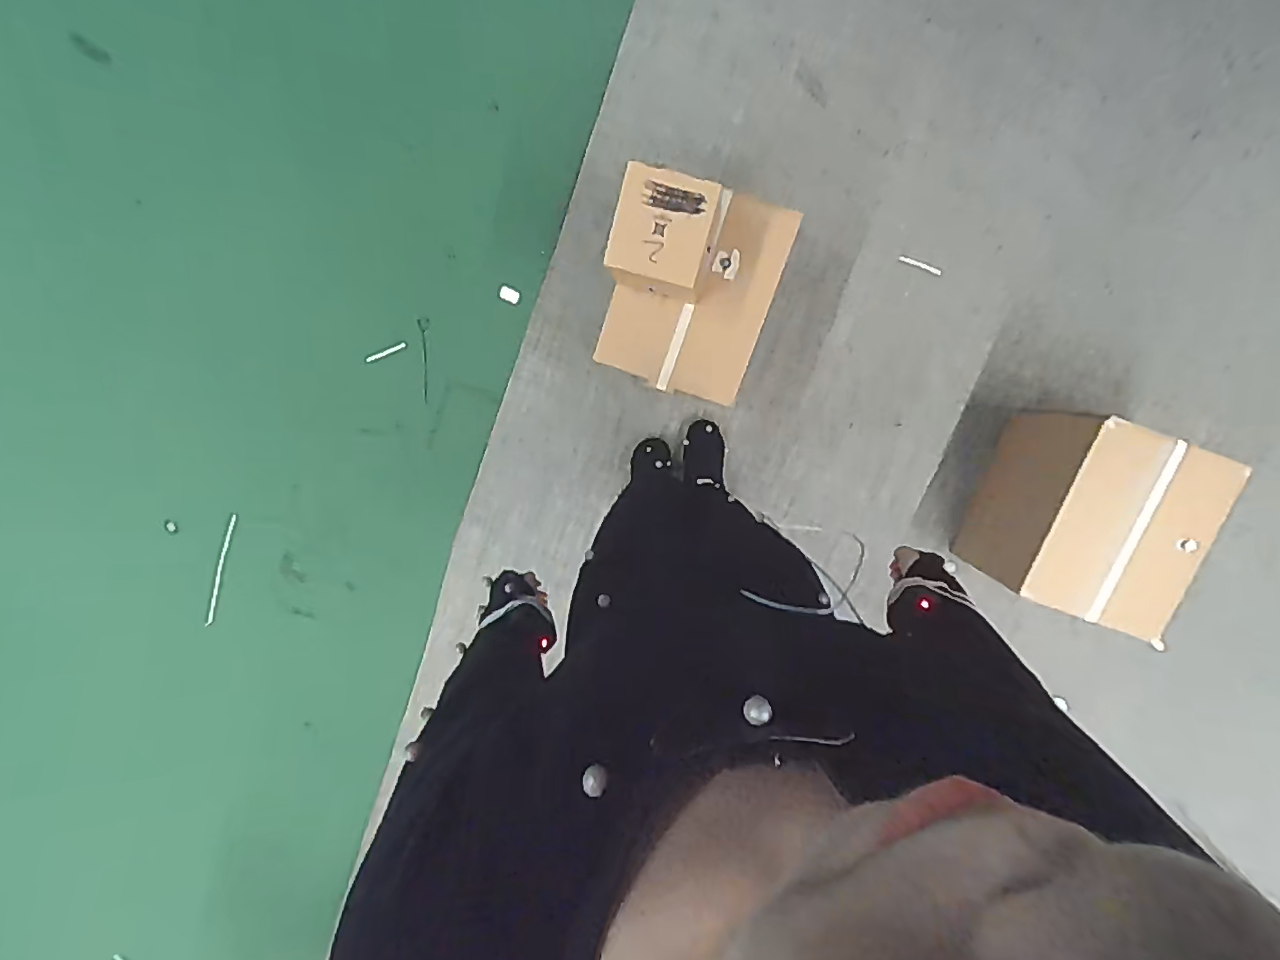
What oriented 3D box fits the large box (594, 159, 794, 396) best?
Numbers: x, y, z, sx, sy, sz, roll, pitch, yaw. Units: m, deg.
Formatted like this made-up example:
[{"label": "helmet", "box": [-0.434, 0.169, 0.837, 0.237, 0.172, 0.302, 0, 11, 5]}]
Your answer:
[{"label": "large box", "box": [0.117, -0.430, 1.251, 0.320, 0.320, 0.408, 19, 99, 1]}]
